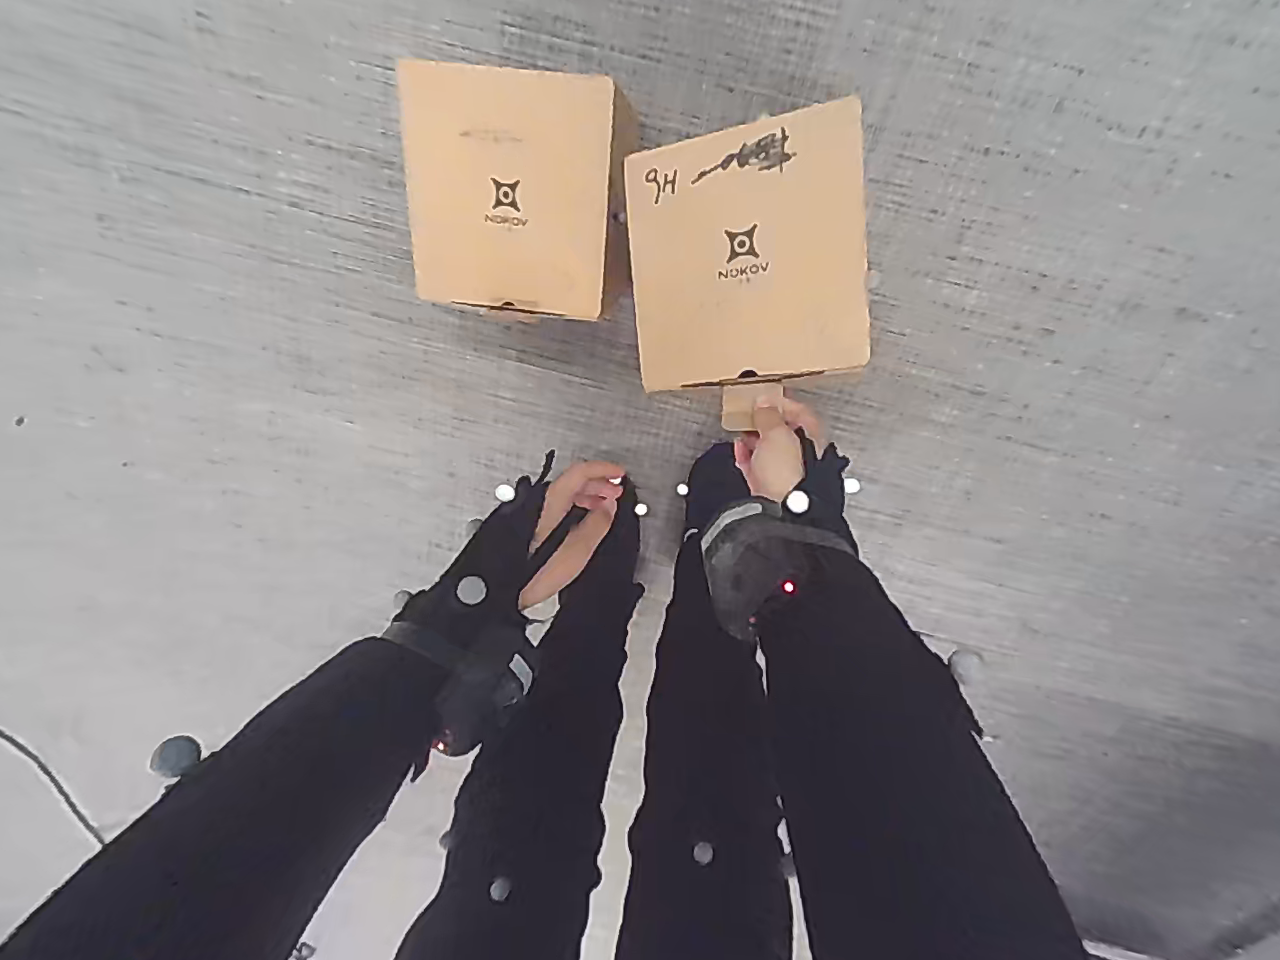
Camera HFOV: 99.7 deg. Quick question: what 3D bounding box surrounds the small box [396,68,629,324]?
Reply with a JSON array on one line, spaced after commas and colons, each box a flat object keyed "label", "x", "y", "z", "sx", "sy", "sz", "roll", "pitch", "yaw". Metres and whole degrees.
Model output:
[{"label": "small box", "x": -0.103, "y": -0.259, "z": 0.512, "sx": 0.168, "sy": 0.176, "sz": 0.179, "roll": 6, "pitch": 116, "yaw": 2}]

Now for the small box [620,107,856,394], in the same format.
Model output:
[{"label": "small box", "x": 0.094, "y": -0.170, "z": 0.466, "sx": 0.168, "sy": 0.176, "sz": 0.179, "roll": -3, "pitch": 97, "yaw": 18}]
